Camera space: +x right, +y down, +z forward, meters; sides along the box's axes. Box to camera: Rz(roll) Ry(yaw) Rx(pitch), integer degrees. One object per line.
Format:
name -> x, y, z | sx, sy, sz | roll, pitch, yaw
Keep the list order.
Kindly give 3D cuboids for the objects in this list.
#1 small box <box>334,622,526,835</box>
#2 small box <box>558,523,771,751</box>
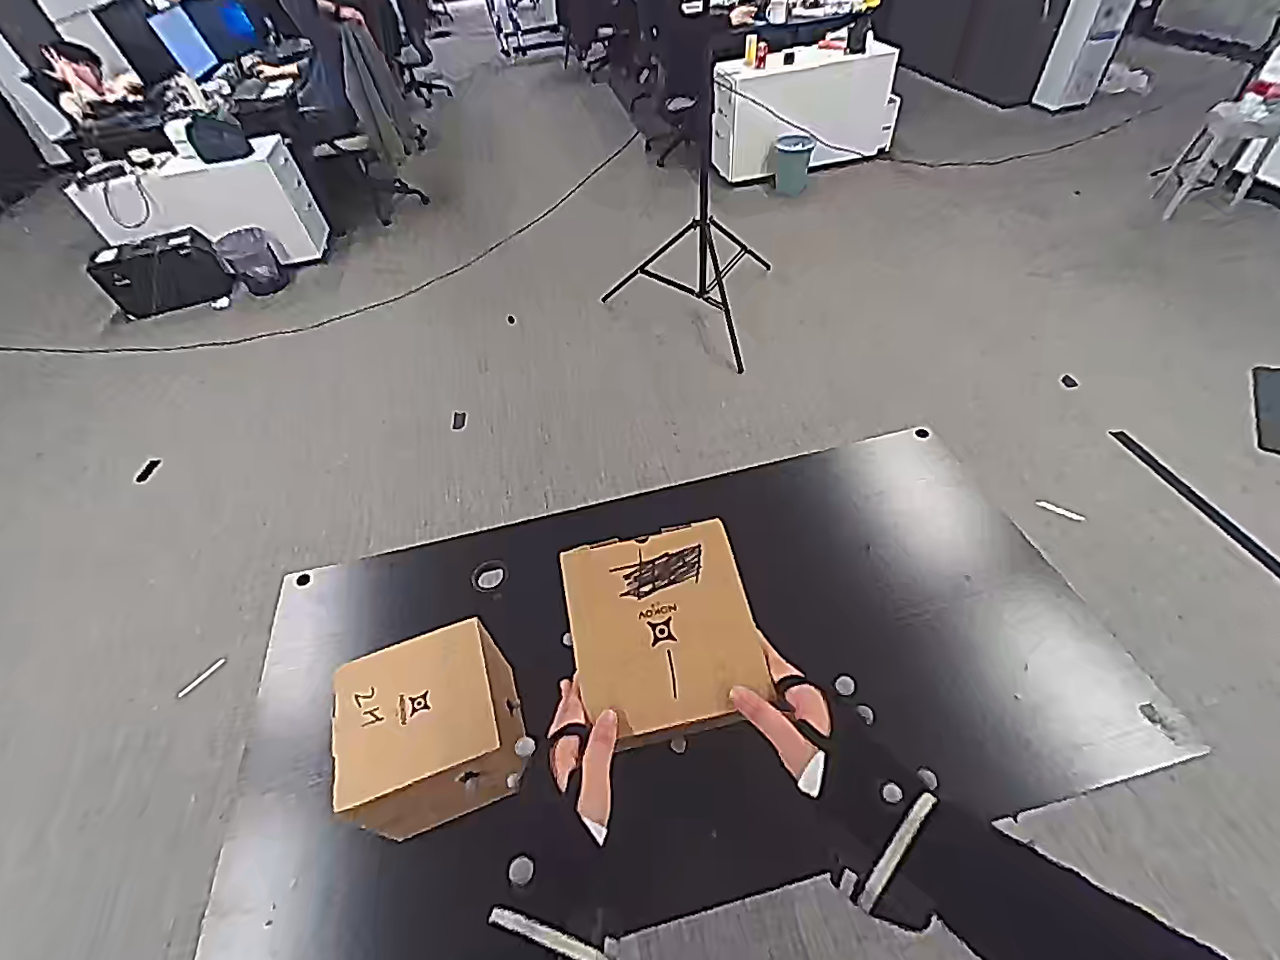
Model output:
small box -> -0.251, 0.311, 0.674 | 0.179, 0.176, 0.168 | -19, 50, -10
small box -> 0.018, 0.169, 0.560 | 0.168, 0.176, 0.179 | -12, 63, -3
